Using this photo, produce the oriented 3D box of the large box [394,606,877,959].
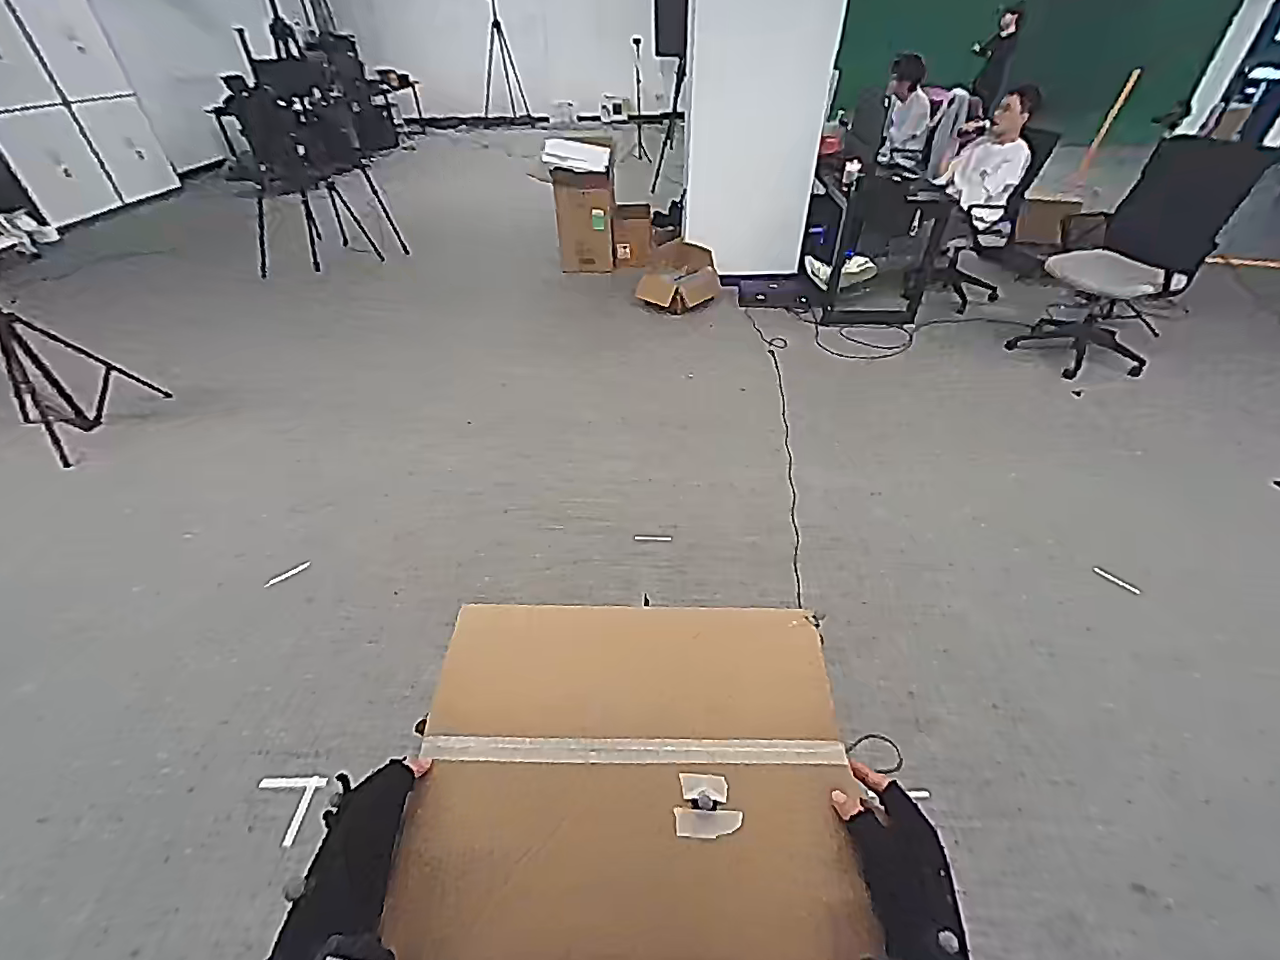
[{"bbox_3d":[-0.004,0.366,0.646,0.408,0.320,0.320,1,47,1],"label":"large box"}]
